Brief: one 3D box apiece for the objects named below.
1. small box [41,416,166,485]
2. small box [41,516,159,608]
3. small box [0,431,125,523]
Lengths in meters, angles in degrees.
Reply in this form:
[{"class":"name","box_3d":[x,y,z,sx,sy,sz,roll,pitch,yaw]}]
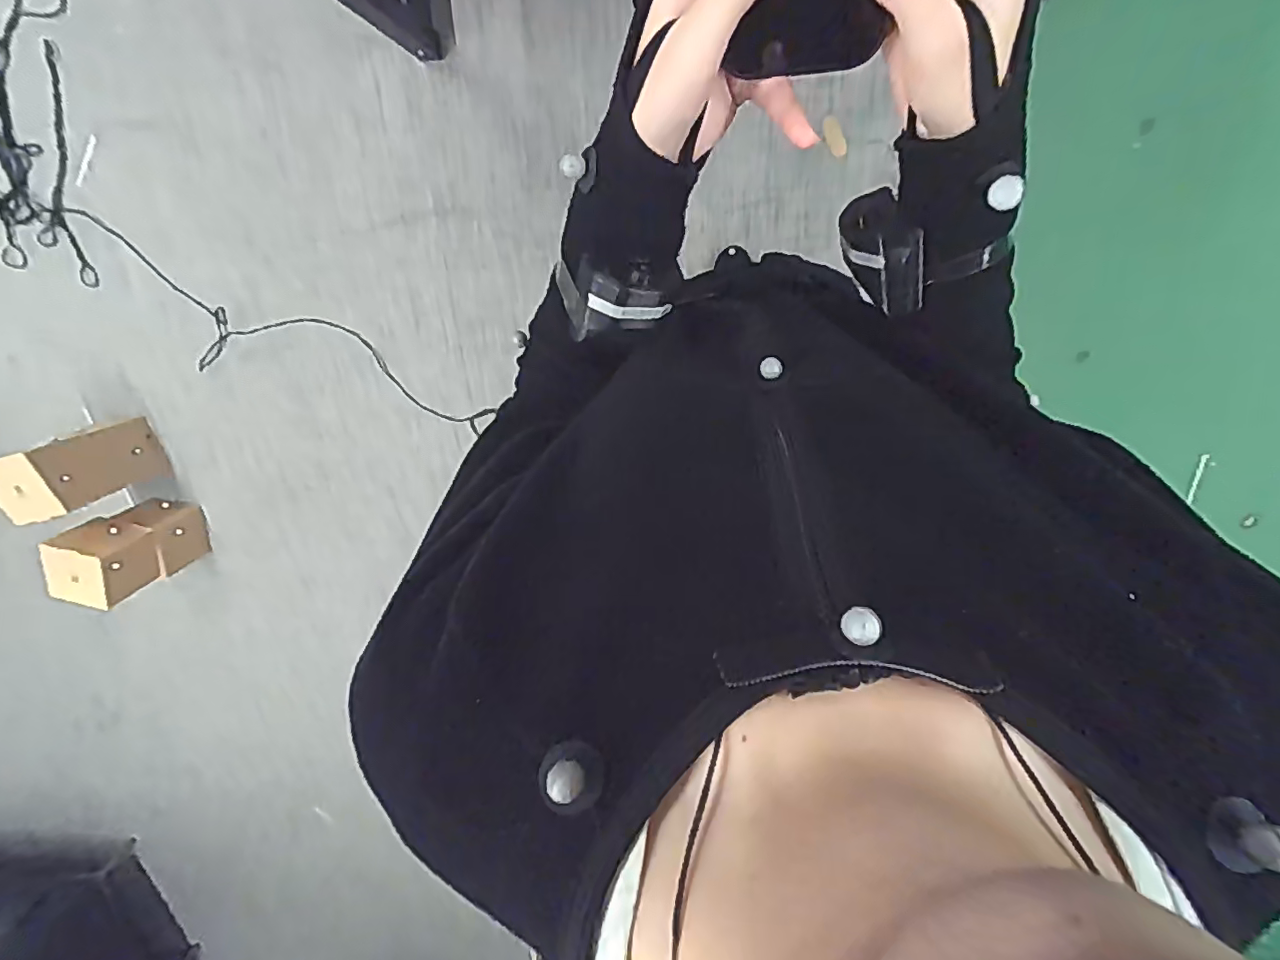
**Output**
[{"class":"small box","box_3d":[-1.548,-0.081,1.580,0.179,0.176,0.168,-7,112,8]},{"class":"small box","box_3d":[-1.518,0.229,1.534,0.168,0.176,0.179,15,112,-1]},{"class":"small box","box_3d":[-1.546,-0.011,1.432,0.168,0.176,0.179,-12,112,8]}]
